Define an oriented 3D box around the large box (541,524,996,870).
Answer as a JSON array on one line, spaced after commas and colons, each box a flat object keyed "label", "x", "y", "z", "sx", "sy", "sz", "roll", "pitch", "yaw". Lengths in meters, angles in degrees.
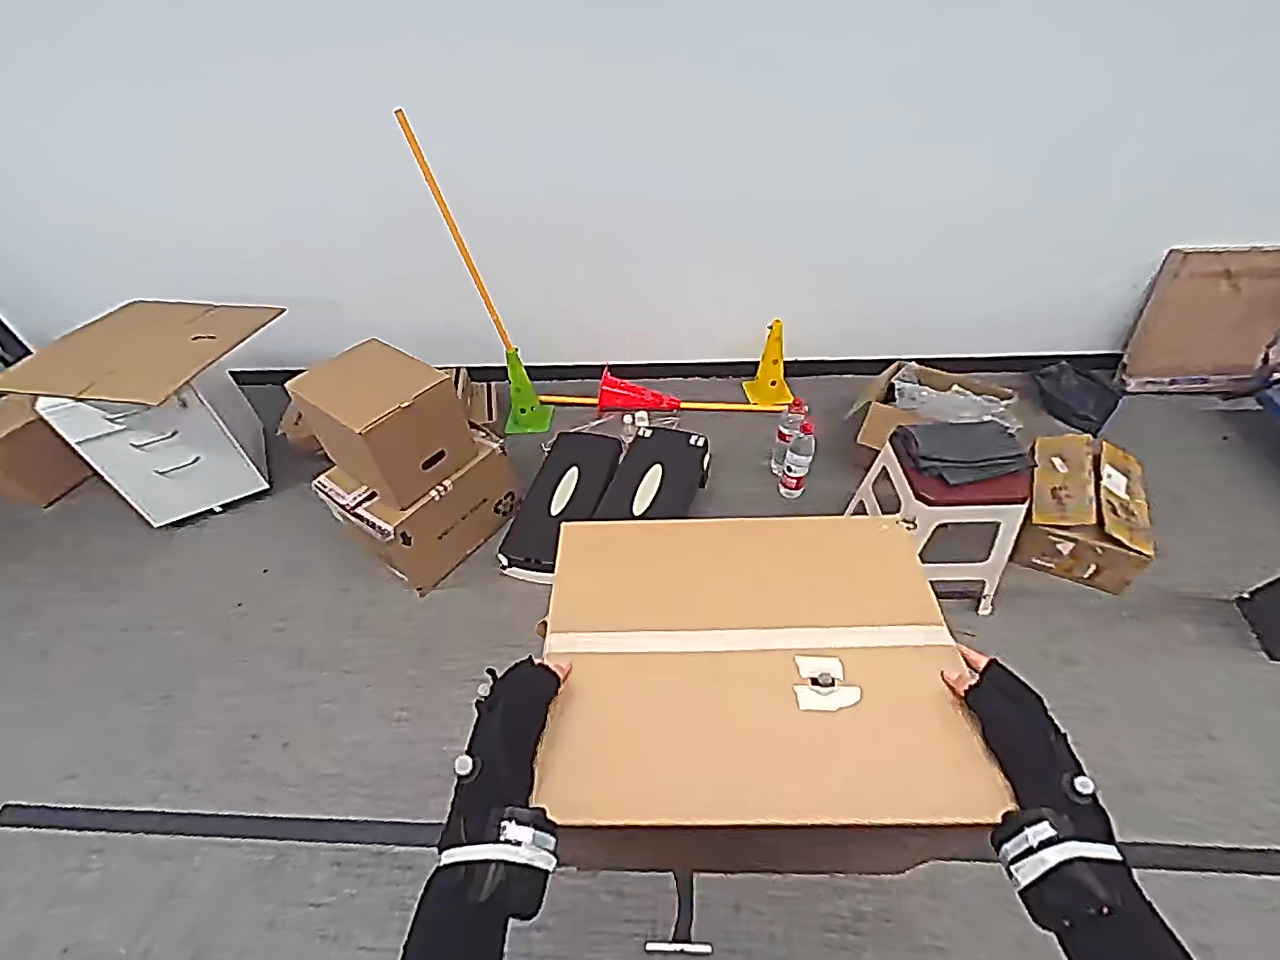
[{"label": "large box", "x": 0.112, "y": 0.274, "z": 0.674, "sx": 0.408, "sy": 0.320, "sz": 0.320, "roll": -2, "pitch": 49, "yaw": 2}]
